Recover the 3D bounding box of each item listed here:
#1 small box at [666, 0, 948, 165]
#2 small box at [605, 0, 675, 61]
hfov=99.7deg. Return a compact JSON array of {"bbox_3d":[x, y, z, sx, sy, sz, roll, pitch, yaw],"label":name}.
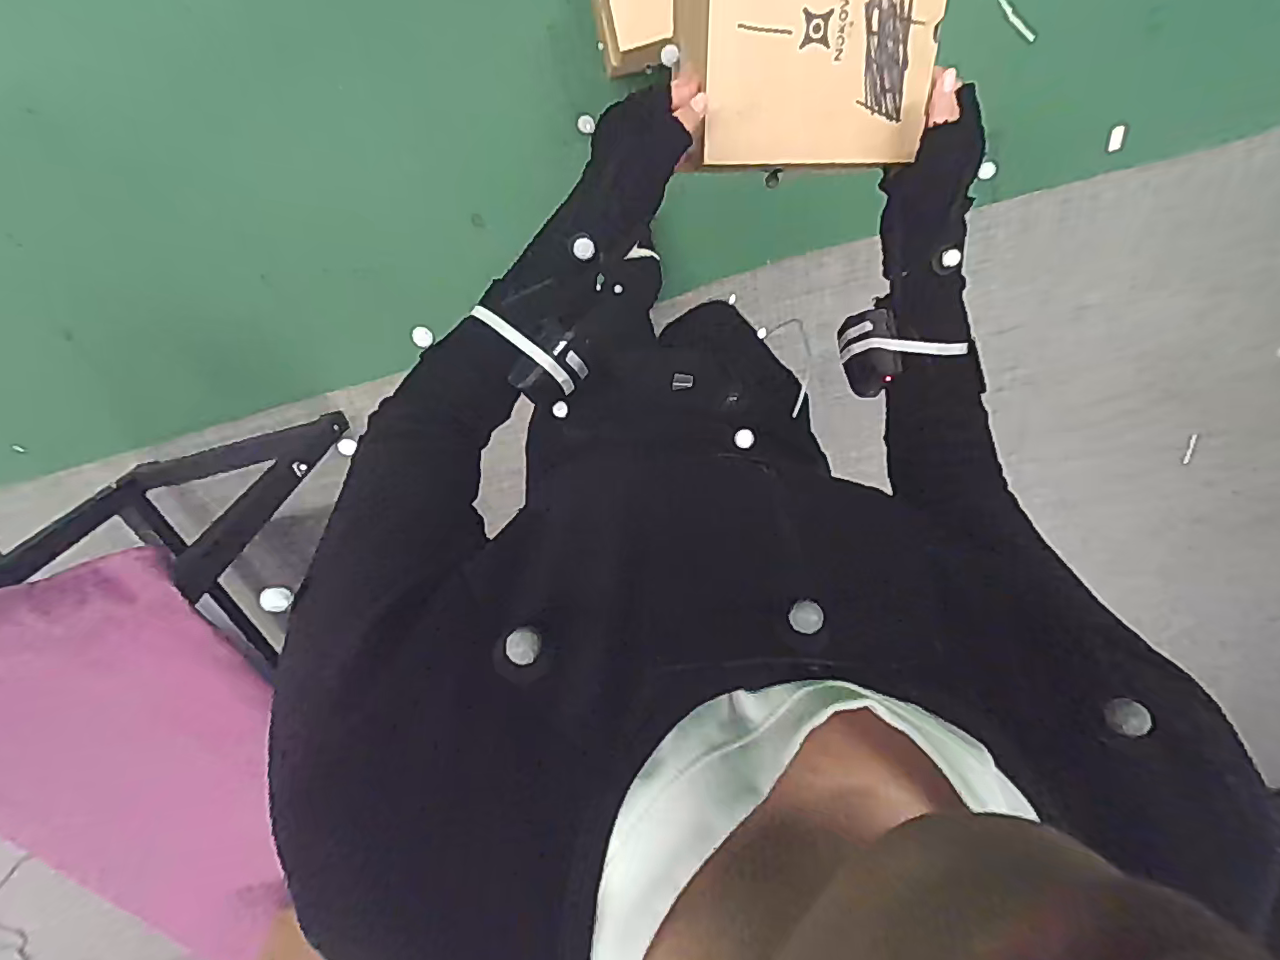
[{"bbox_3d":[0.123,-0.363,0.447,0.179,0.176,0.168,0,117,-5],"label":"small box"},{"bbox_3d":[0.030,-0.774,0.830,0.179,0.176,0.168,-15,121,3],"label":"small box"}]
